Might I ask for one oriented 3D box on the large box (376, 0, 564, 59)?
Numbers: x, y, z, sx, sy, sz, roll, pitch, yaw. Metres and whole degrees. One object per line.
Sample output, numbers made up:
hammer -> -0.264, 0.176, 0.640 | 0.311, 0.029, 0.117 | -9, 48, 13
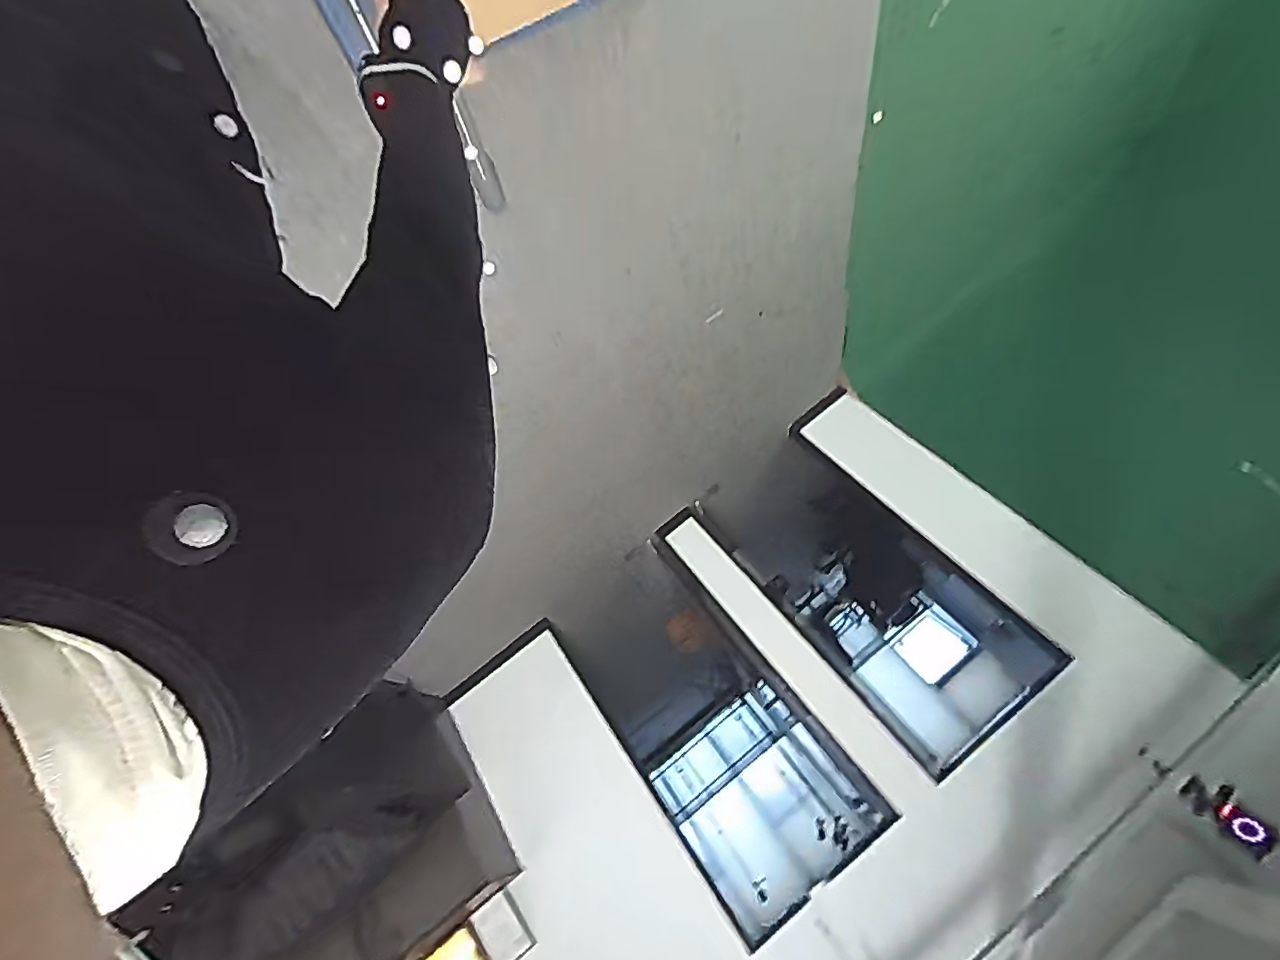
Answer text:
large box -> -0.288, -0.999, 0.903 | 0.408, 0.320, 0.320 | -36, 150, -11
